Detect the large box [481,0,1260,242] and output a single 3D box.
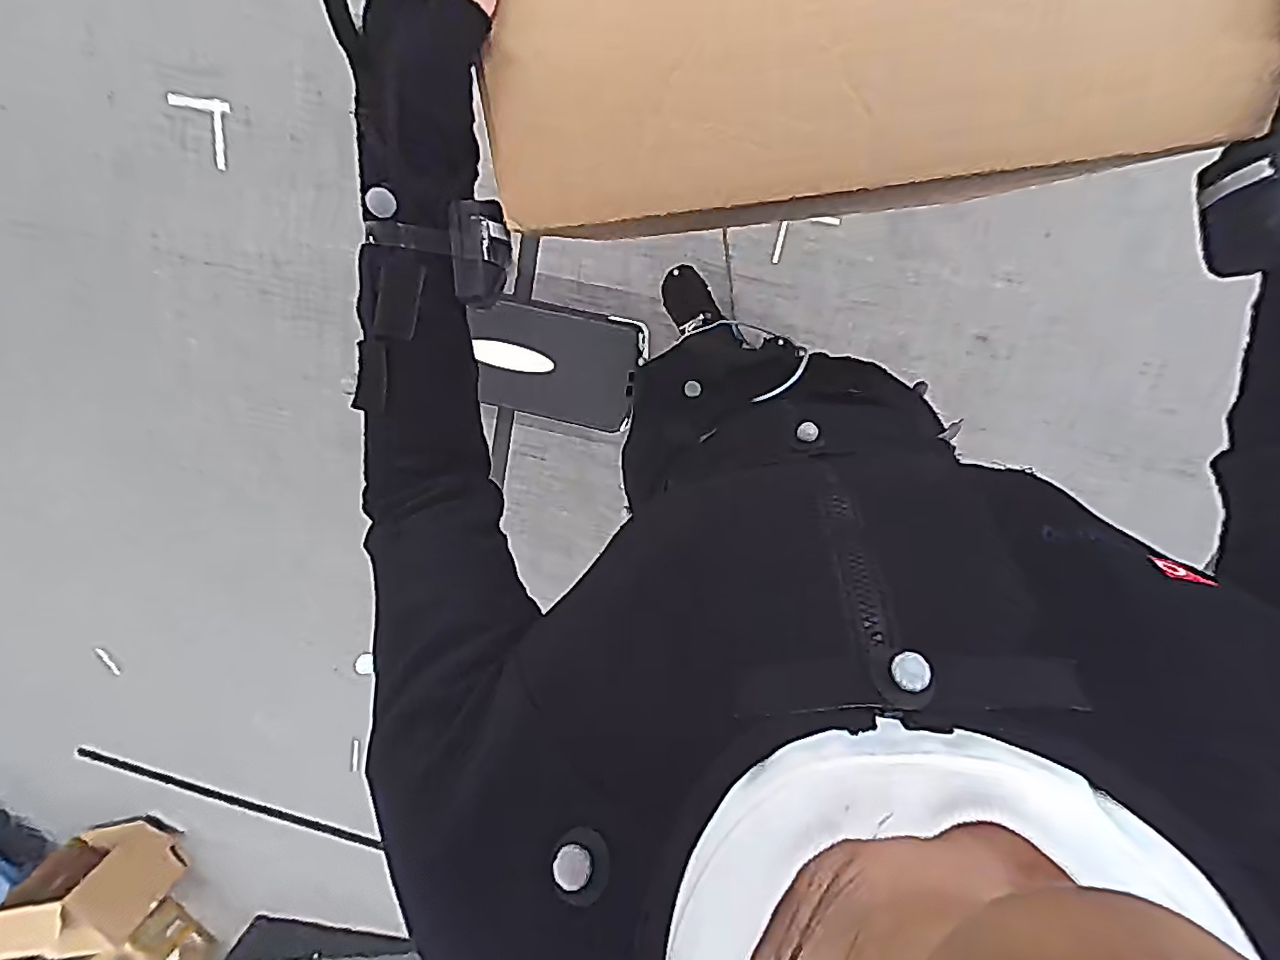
[{"bbox_3d":[0.115,-0.373,0.398,0.408,0.320,0.320,-4,112,8],"label":"large box"}]
